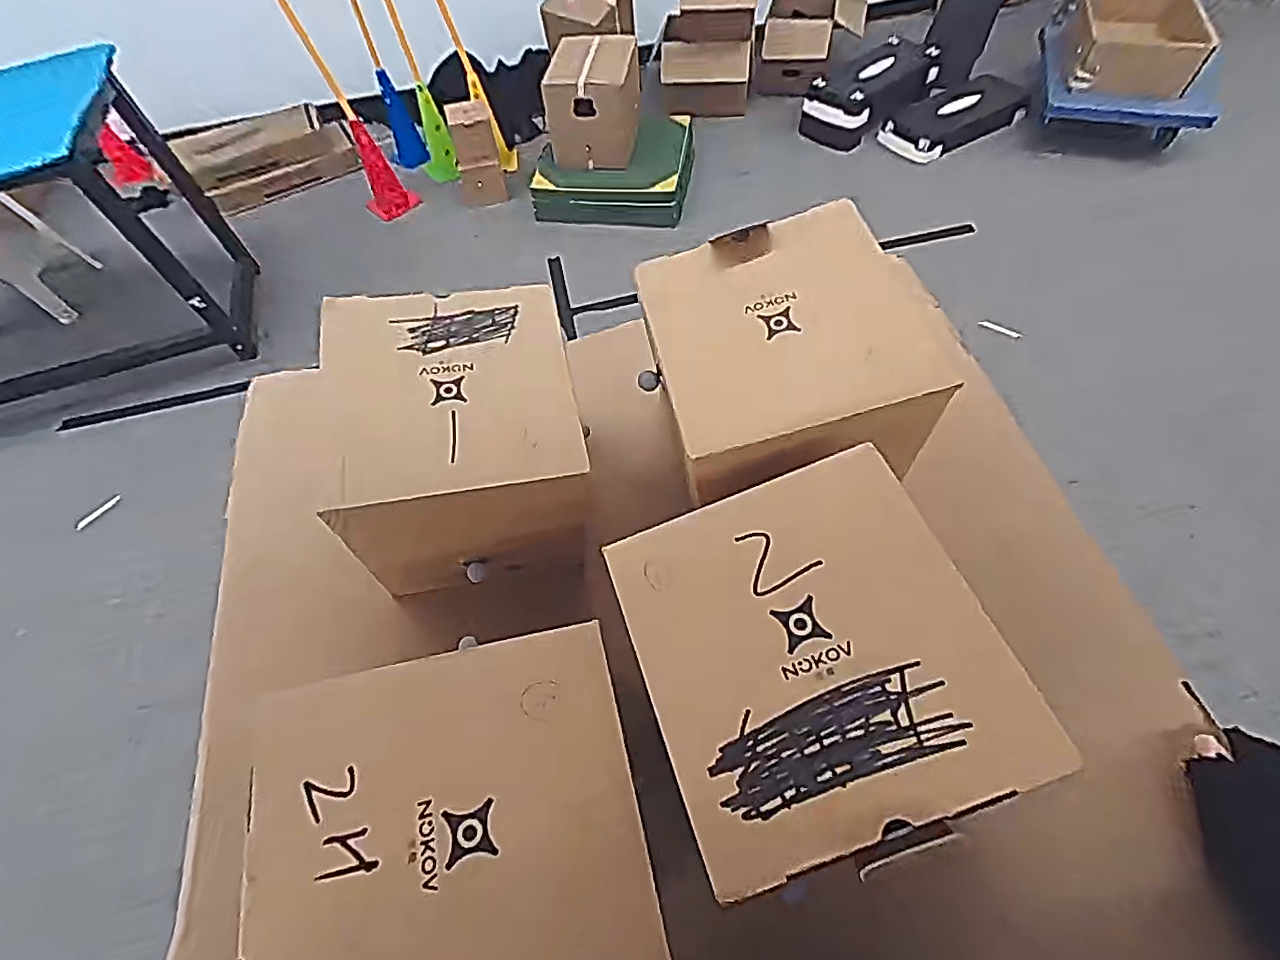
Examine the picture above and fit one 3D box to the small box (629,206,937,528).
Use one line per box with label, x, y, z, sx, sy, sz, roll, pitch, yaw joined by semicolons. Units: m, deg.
small box;0.102;-0.075;0.439;0.168;0.176;0.179;-16;61;4
